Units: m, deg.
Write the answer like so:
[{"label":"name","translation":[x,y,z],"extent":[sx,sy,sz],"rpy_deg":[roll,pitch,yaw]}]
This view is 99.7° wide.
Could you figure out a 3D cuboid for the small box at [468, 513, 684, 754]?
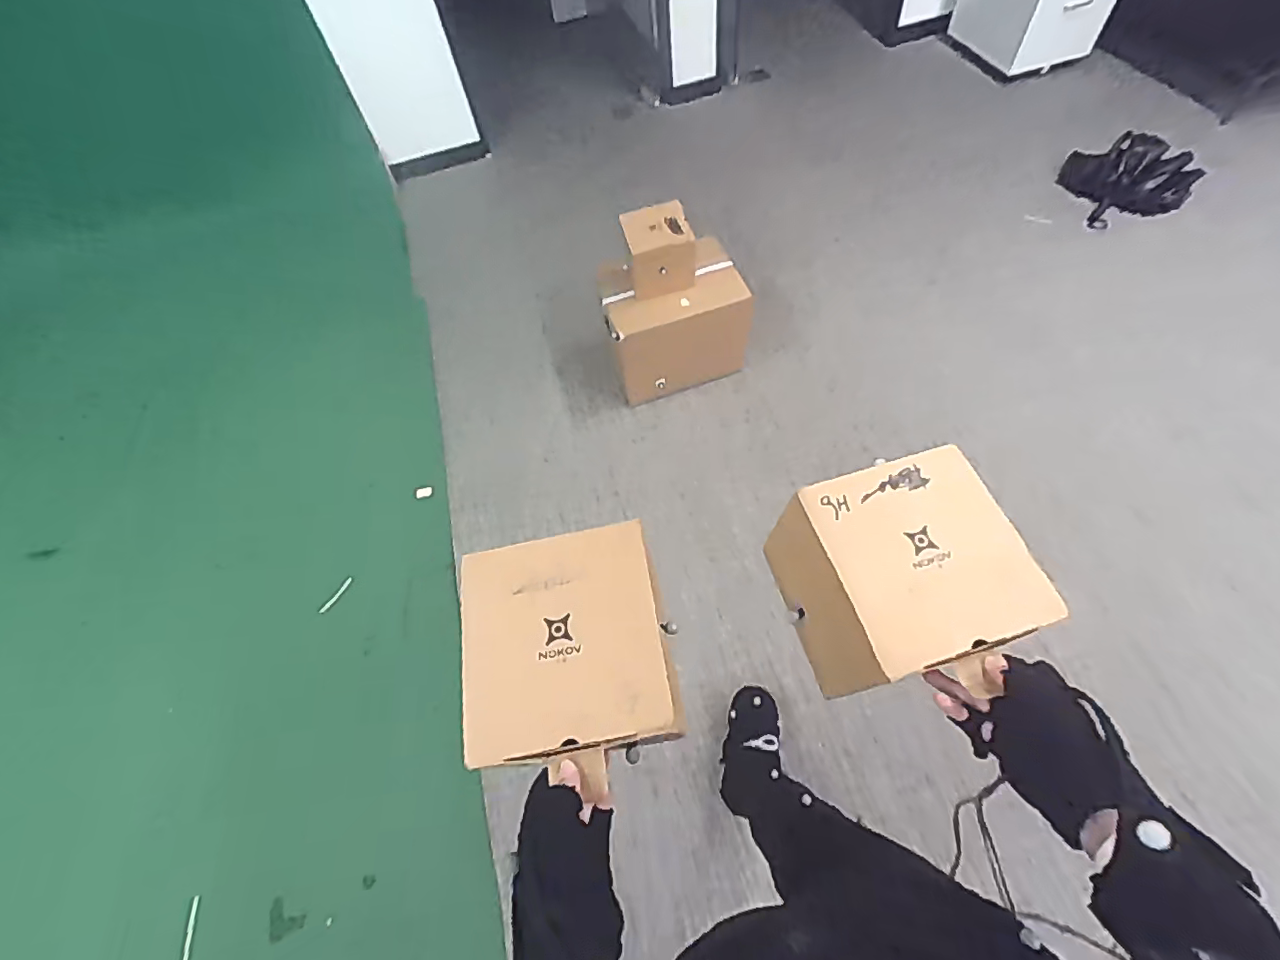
[{"label":"small box","translation":[-0.055,0.157,0.527],"extent":[0.168,0.176,0.179],"rpy_deg":[-12,61,1]}]

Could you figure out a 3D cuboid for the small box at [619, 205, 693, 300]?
[{"label":"small box","translation":[0.045,-0.639,1.531],"extent":[0.179,0.176,0.168],"rpy_deg":[-12,63,-1]}]
